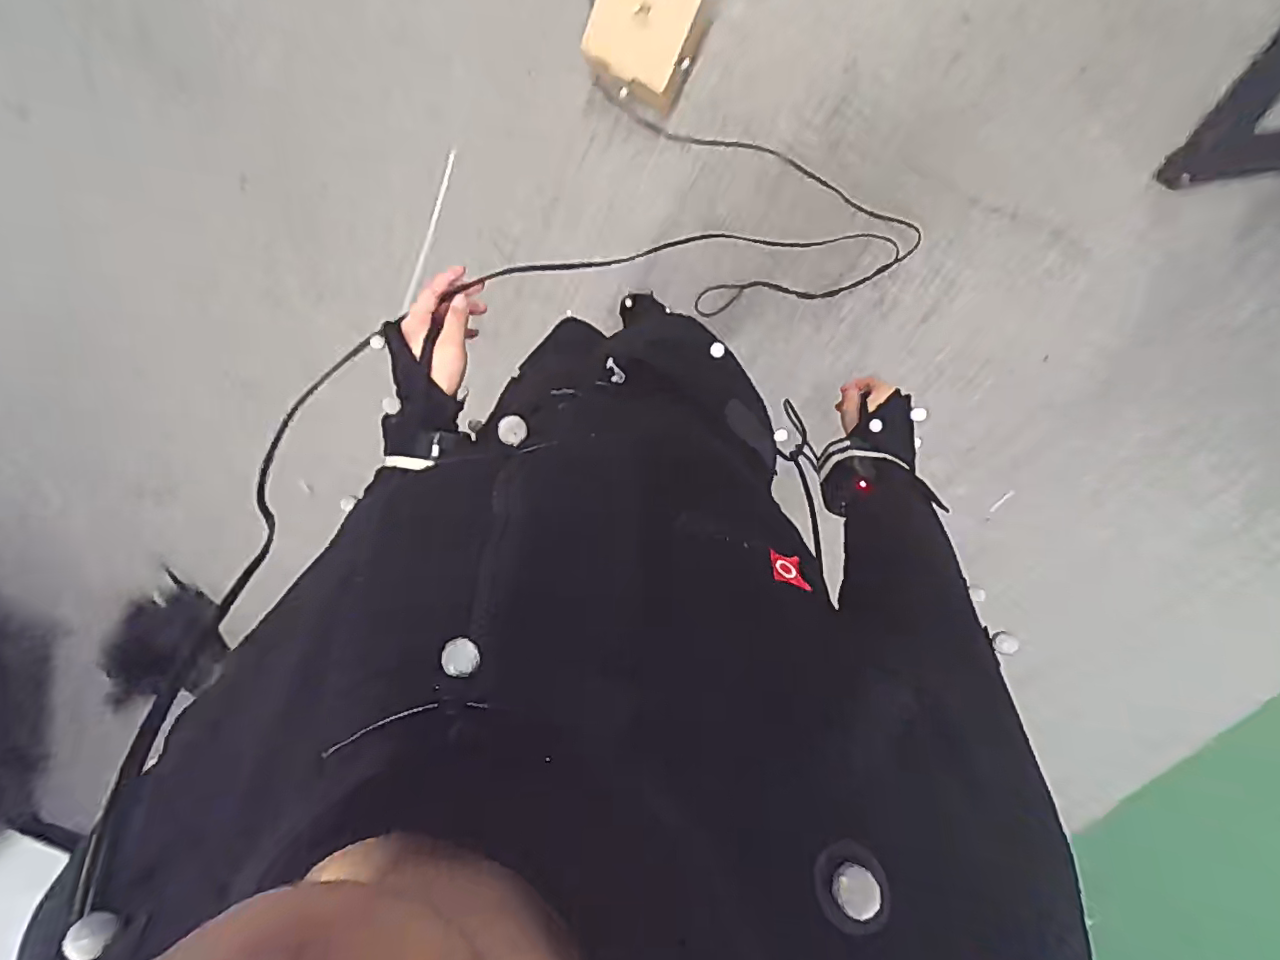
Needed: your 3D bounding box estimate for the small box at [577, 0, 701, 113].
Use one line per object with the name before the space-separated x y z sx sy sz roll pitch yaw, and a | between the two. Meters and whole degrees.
small box | 0.006 -0.812 0.989 0.168 0.176 0.179 25 113 -4
